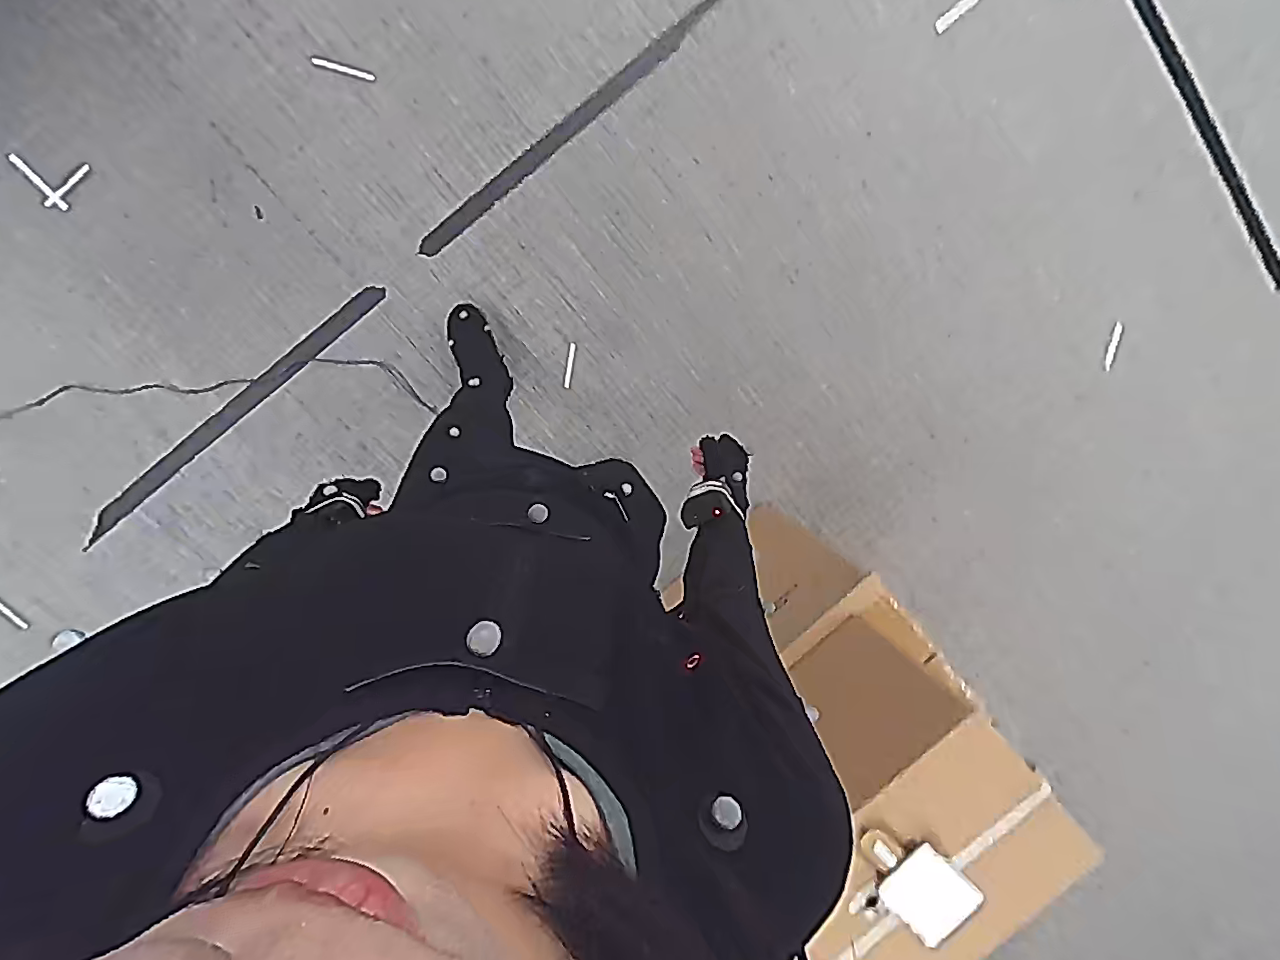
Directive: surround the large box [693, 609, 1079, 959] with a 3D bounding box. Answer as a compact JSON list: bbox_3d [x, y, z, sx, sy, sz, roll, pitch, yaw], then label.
[{"bbox_3d":[0.353,0.493,0.872,0.408,0.320,0.320,-42,100,3],"label":"large box"}]
